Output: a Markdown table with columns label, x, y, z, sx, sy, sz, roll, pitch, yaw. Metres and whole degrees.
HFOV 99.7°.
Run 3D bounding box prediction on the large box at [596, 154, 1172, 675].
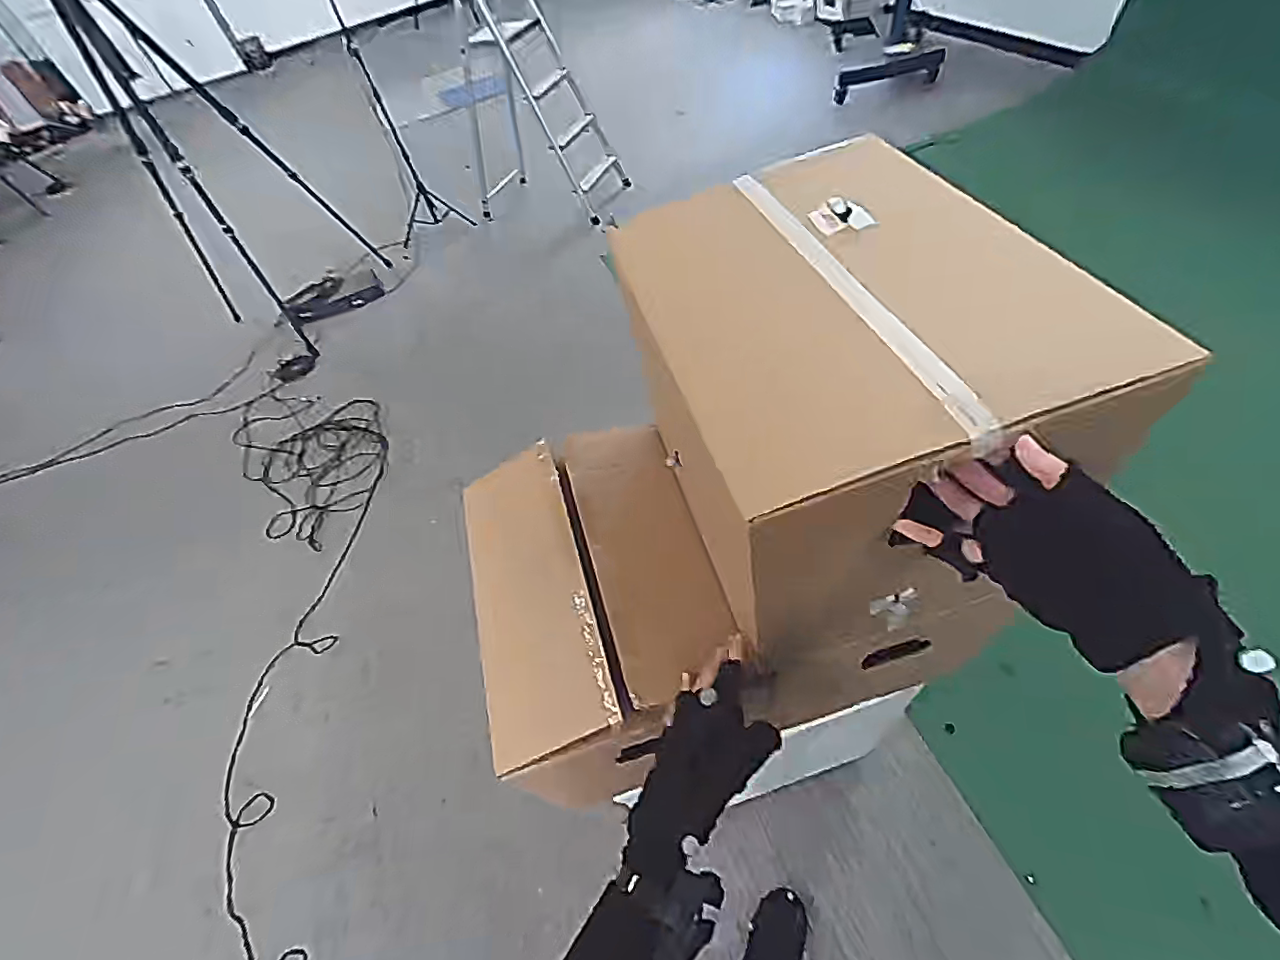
| label | x | y | z | sx | sy | sz | roll | pitch | yaw |
| --- | --- | --- | --- | --- | --- | --- | --- | --- | --- |
| large box | 0.180 | -0.074 | 0.579 | 0.320 | 0.320 | 0.408 | -19 | 49 | 0 |
